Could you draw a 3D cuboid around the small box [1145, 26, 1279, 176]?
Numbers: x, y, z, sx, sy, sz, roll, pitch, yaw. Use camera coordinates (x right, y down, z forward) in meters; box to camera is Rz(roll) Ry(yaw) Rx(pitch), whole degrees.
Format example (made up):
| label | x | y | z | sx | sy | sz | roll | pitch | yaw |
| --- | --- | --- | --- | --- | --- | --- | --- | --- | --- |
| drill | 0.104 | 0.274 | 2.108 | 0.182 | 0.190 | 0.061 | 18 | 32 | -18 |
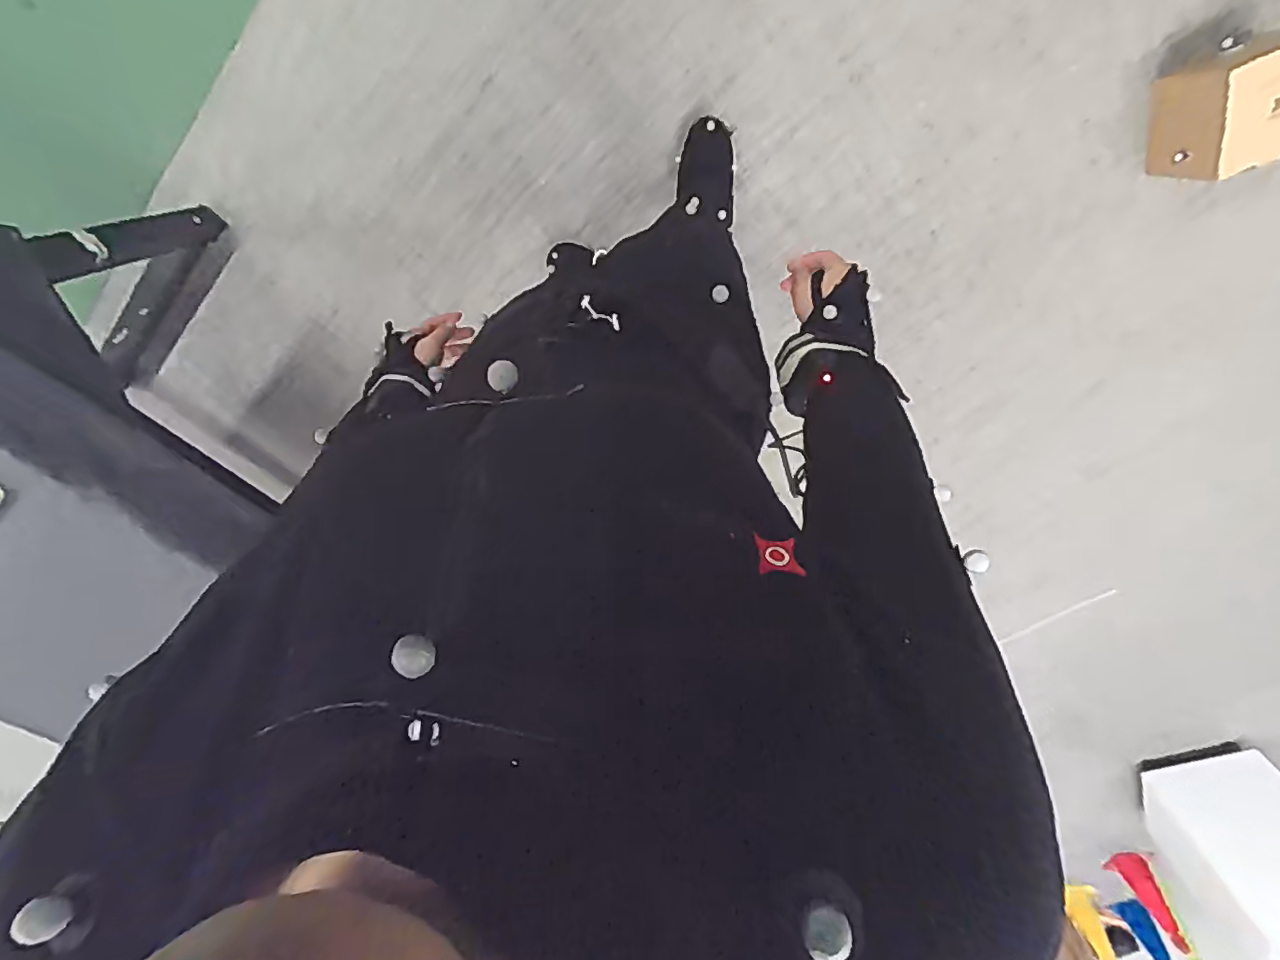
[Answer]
| label | x | y | z | sx | sy | sz | roll | pitch | yaw |
| --- | --- | --- | --- | --- | --- | --- | --- | --- | --- |
| small box | 1.053 | -0.675 | 0.962 | 0.168 | 0.176 | 0.179 | -21 | 120 | 13 |
